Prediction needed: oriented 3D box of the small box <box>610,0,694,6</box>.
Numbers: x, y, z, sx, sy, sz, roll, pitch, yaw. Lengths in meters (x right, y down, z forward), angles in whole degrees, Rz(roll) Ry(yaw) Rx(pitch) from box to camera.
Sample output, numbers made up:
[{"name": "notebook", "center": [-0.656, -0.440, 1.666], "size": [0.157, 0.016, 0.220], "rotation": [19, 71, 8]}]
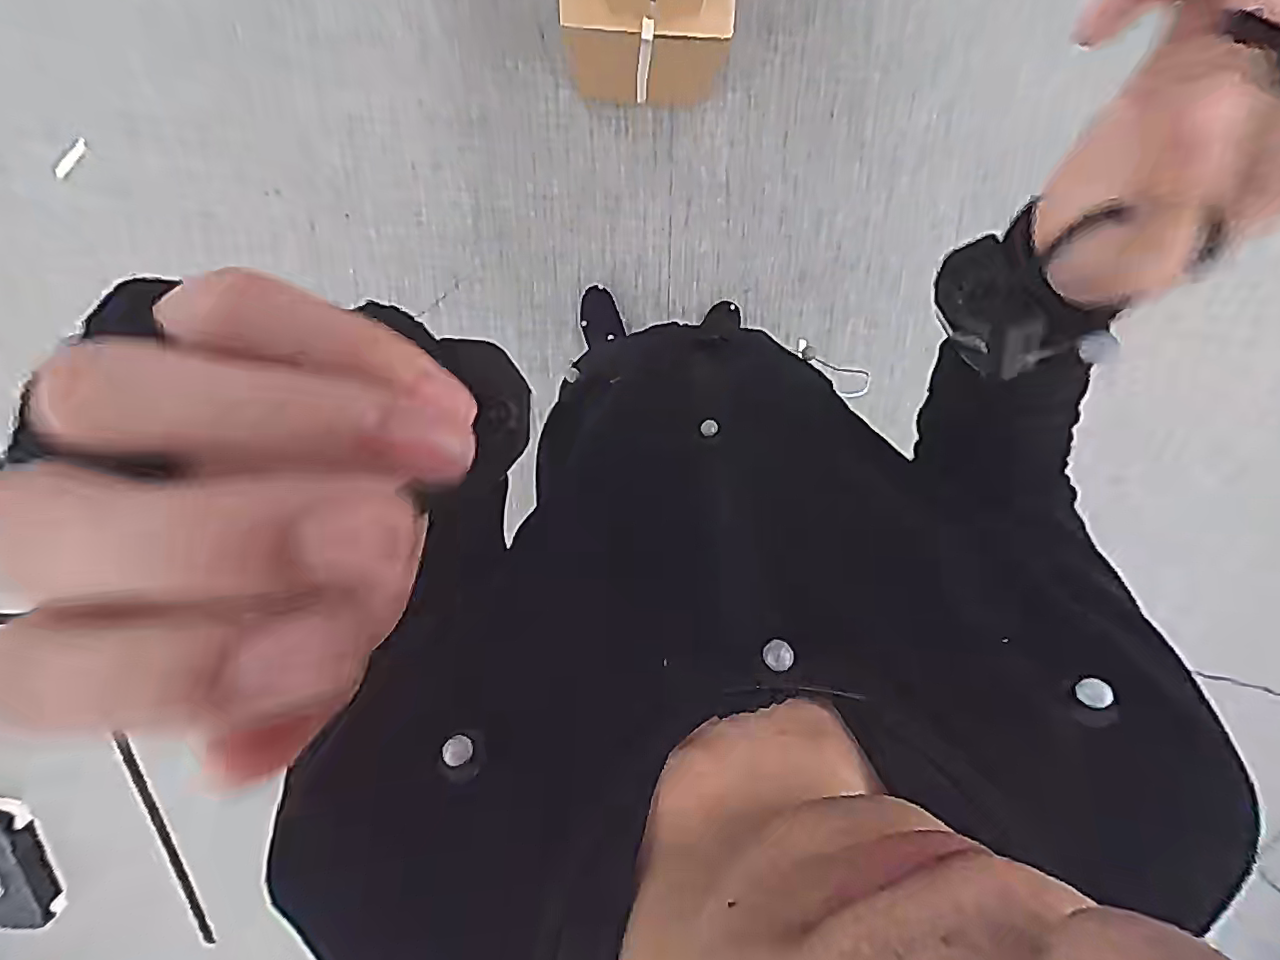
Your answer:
[{"name": "small box", "center": [0.024, -0.865, 0.828], "size": [0.179, 0.176, 0.168], "rotation": [2, 112, -2]}]
